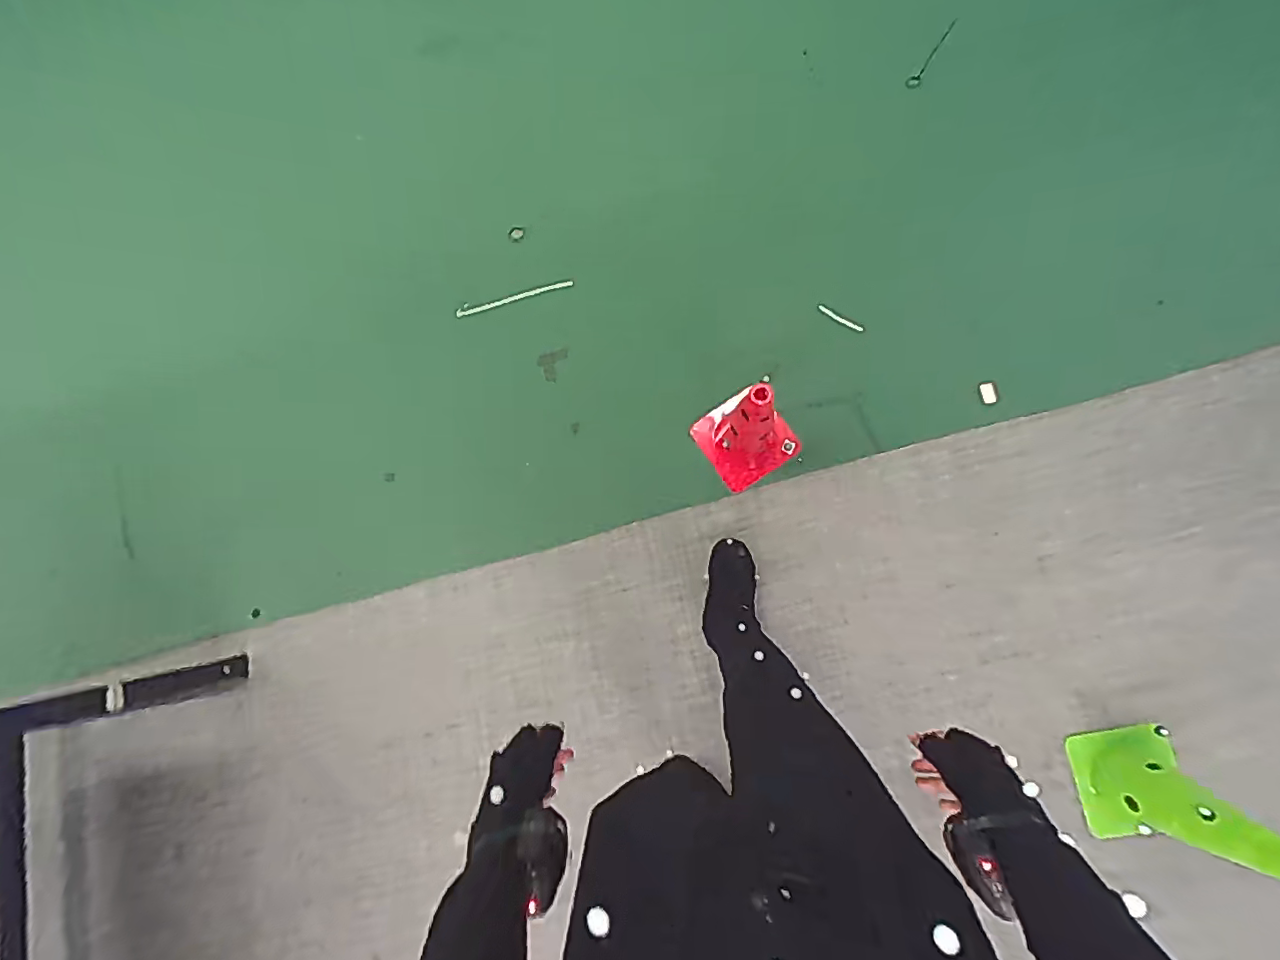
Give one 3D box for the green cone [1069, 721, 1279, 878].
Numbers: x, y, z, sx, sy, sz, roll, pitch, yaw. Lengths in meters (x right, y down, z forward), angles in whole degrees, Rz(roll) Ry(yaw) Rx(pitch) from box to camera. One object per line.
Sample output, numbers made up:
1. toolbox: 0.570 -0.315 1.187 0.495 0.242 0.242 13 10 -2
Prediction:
1. green cone: 0.980 0.584 0.934 0.200 0.368 0.202 -13 81 5
